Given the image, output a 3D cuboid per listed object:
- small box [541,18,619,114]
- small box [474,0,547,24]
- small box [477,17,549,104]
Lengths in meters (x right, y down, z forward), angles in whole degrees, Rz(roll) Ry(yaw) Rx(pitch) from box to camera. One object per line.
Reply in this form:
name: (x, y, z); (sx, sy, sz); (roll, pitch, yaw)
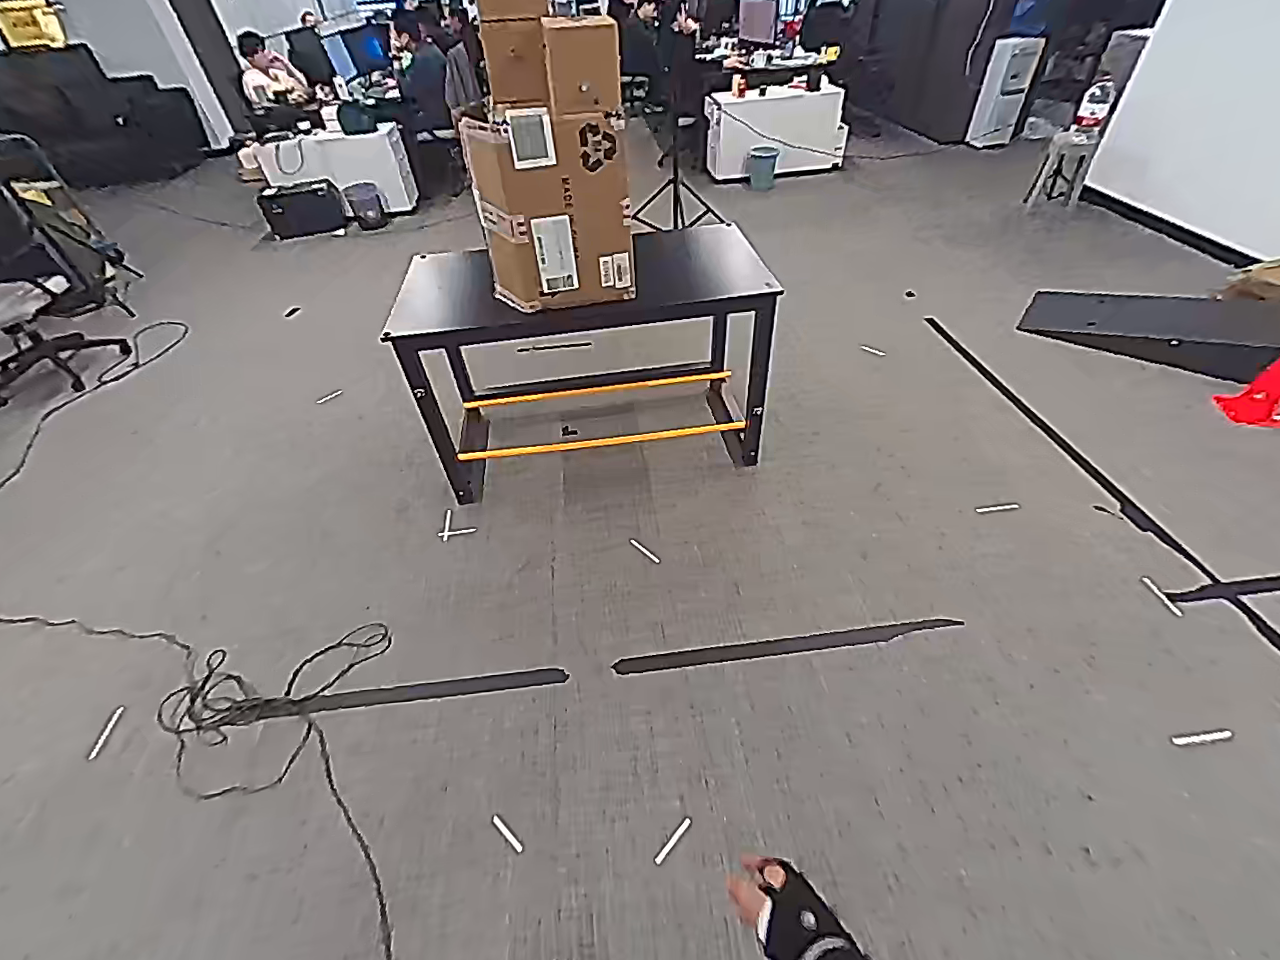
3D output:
small box: (-0.147, -1.014, 1.325); (0.168, 0.176, 0.179); (-9, 46, -7)
small box: (-0.330, -1.241, 1.334); (0.179, 0.176, 0.168); (-11, 41, -8)
small box: (-0.325, -1.122, 1.447); (0.179, 0.176, 0.168); (-10, 42, -6)
